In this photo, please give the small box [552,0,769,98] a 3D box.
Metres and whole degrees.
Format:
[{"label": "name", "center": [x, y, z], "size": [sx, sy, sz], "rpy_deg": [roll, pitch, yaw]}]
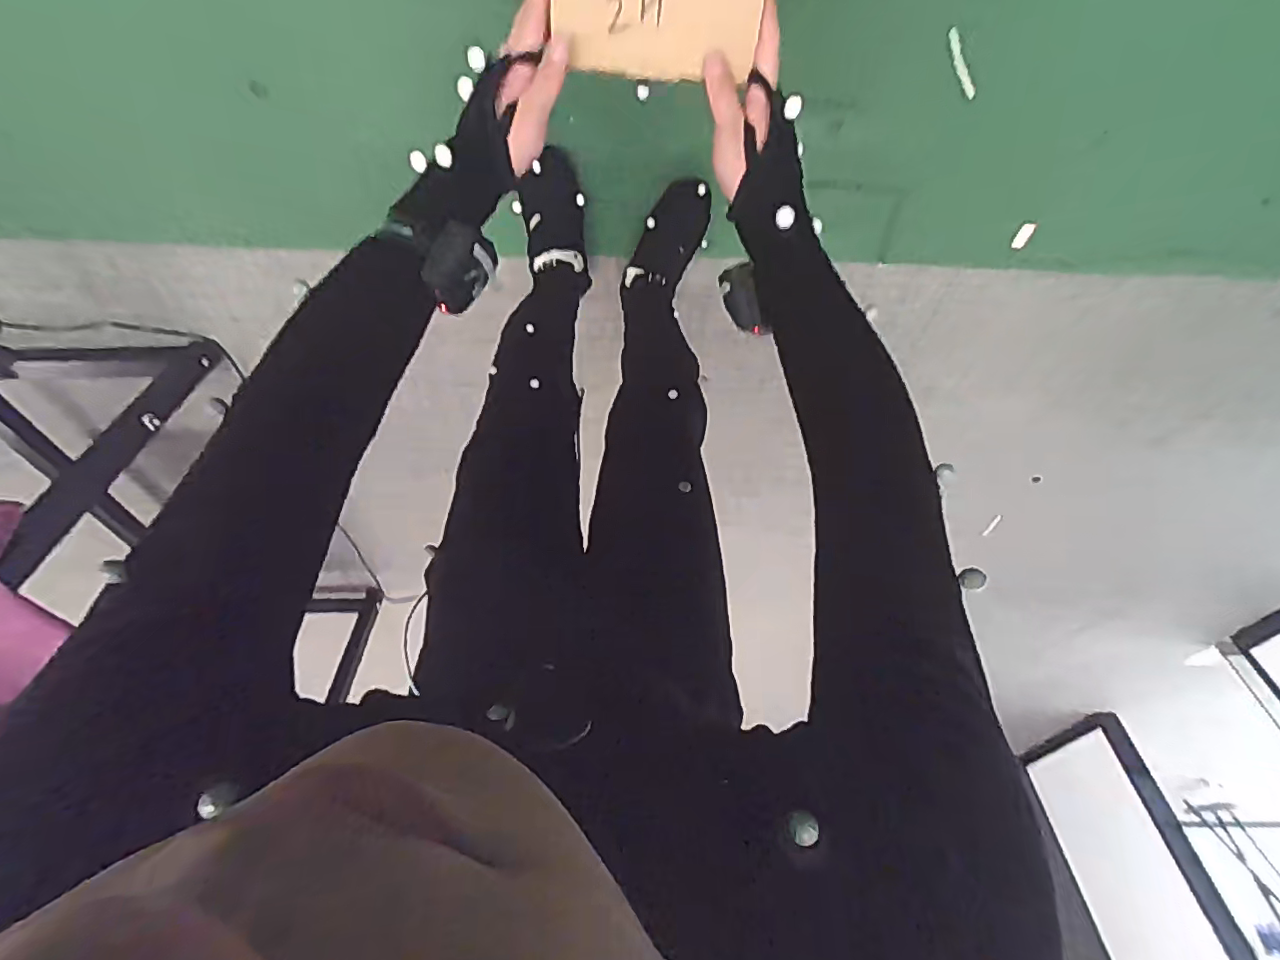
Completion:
[{"label": "small box", "center": [0.014, -0.434, 0.448], "size": [0.168, 0.176, 0.179], "rpy_deg": [2, 127, -5]}]
